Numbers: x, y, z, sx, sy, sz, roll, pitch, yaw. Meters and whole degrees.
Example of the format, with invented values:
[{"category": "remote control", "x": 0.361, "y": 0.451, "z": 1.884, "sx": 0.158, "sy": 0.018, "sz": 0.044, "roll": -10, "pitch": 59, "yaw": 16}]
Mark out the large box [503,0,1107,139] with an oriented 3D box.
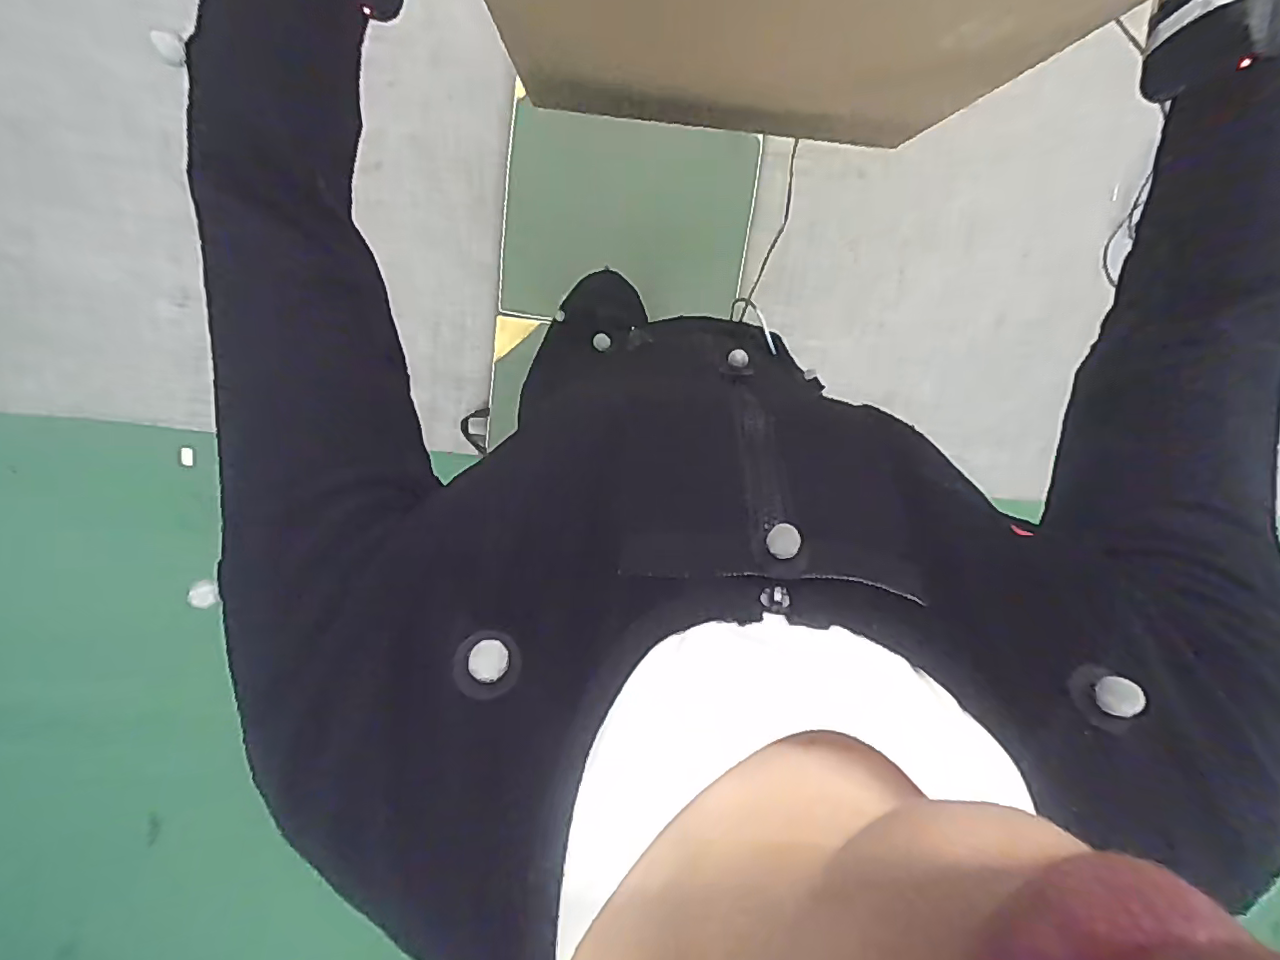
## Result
[{"category": "large box", "x": 0.103, "y": -0.488, "z": 0.405, "sx": 0.408, "sy": 0.320, "sz": 0.320, "roll": 3, "pitch": 108, "yaw": -4}]
